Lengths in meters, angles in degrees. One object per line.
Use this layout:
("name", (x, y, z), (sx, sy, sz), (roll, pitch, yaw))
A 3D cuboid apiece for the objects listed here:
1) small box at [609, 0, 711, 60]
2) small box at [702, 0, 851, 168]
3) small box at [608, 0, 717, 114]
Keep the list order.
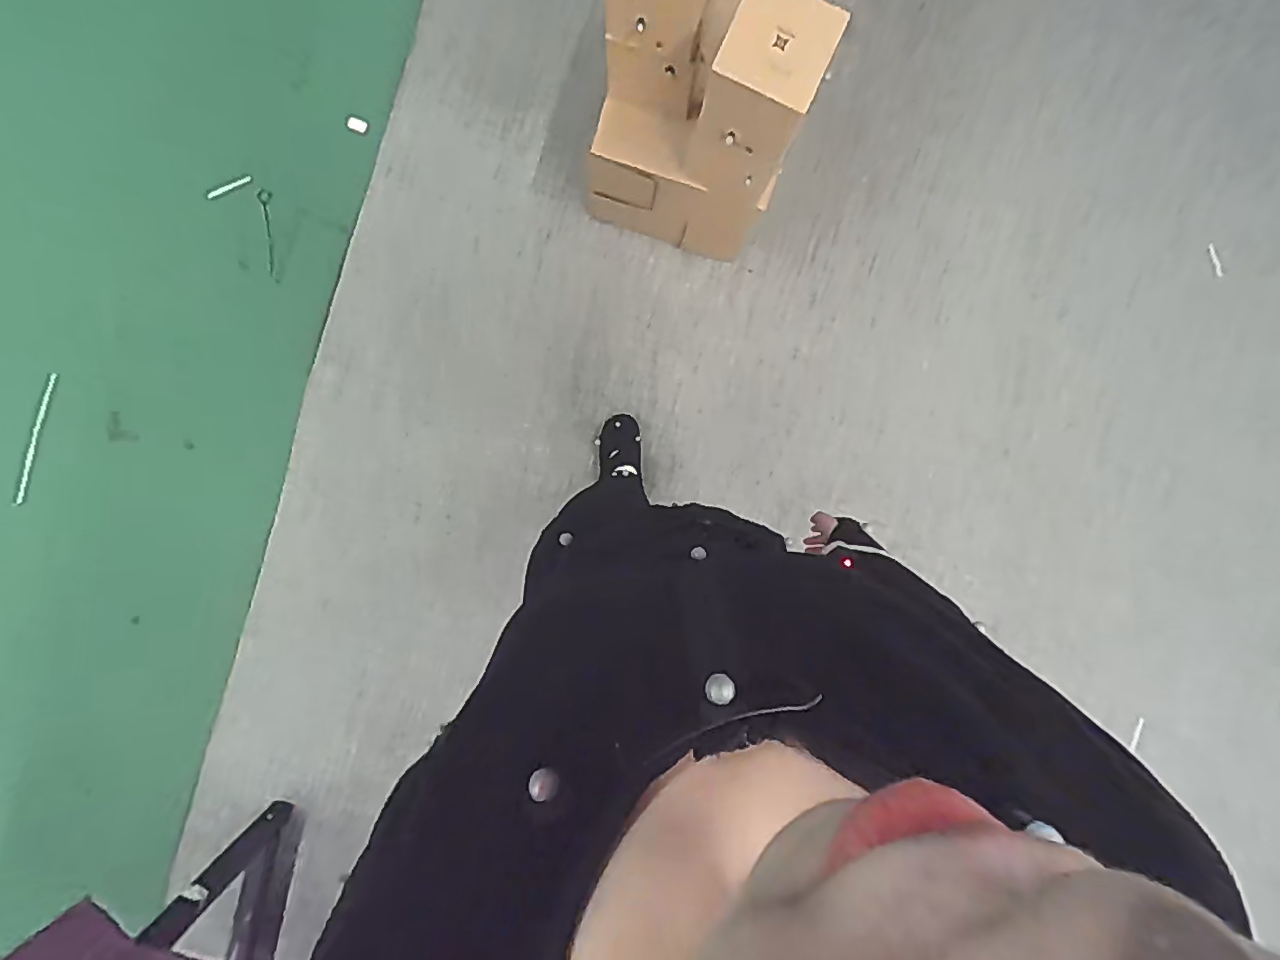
("small box", (0.045, -0.872, 0.909), (0.168, 0.176, 0.179), (18, 91, -2))
("small box", (0.217, -0.683, 0.916), (0.168, 0.176, 0.179), (25, 90, -2))
("small box", (0.043, -0.874, 1.072), (0.179, 0.176, 0.168), (16, 89, -2))
